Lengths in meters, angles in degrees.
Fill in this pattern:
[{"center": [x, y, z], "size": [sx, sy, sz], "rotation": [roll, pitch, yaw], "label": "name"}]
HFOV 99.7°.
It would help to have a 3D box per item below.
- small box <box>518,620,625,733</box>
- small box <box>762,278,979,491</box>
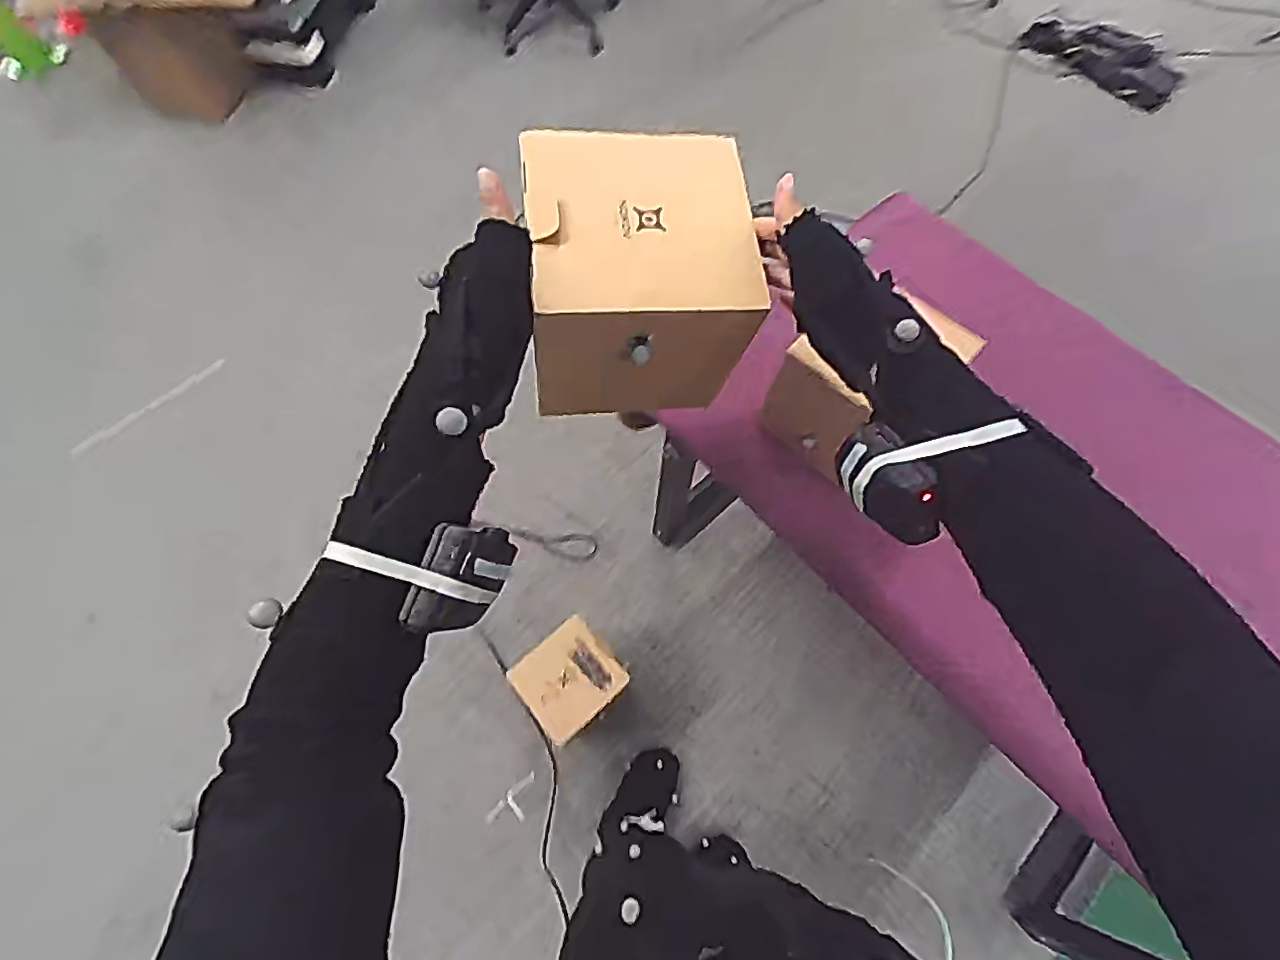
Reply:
[{"center": [-0.153, 0.450, 1.242], "size": [0.179, 0.176, 0.168], "rotation": [-38, 73, -15], "label": "small box"}, {"center": [0.286, -0.118, 0.711], "size": [0.168, 0.176, 0.179], "rotation": [42, 71, 14], "label": "small box"}]
